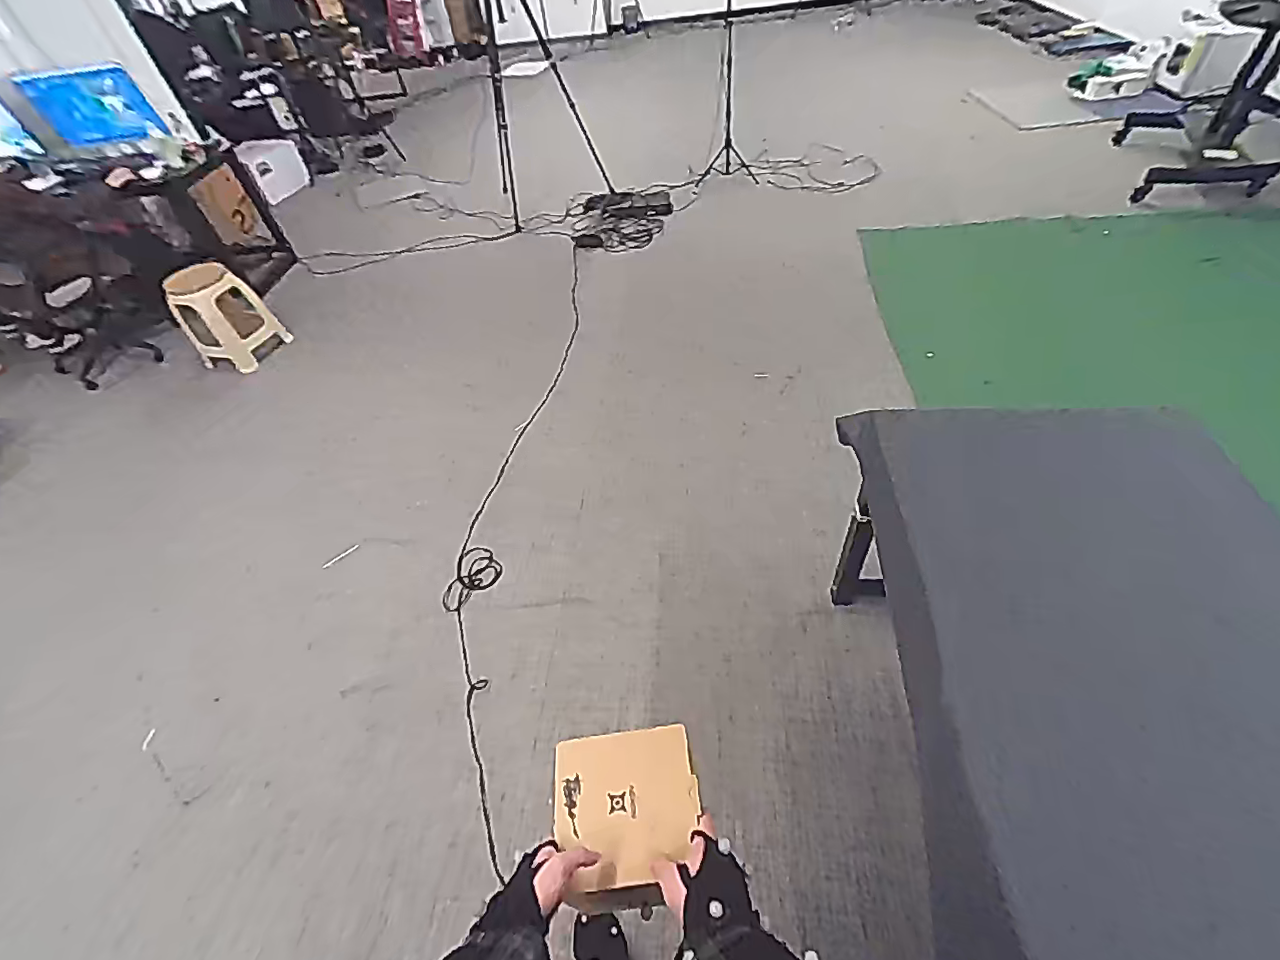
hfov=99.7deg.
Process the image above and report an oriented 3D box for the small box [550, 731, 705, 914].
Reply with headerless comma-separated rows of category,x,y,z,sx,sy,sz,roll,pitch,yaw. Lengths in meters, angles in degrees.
small box,-0.010,0.449,0.707,0.179,0.176,0.168,-8,45,3
